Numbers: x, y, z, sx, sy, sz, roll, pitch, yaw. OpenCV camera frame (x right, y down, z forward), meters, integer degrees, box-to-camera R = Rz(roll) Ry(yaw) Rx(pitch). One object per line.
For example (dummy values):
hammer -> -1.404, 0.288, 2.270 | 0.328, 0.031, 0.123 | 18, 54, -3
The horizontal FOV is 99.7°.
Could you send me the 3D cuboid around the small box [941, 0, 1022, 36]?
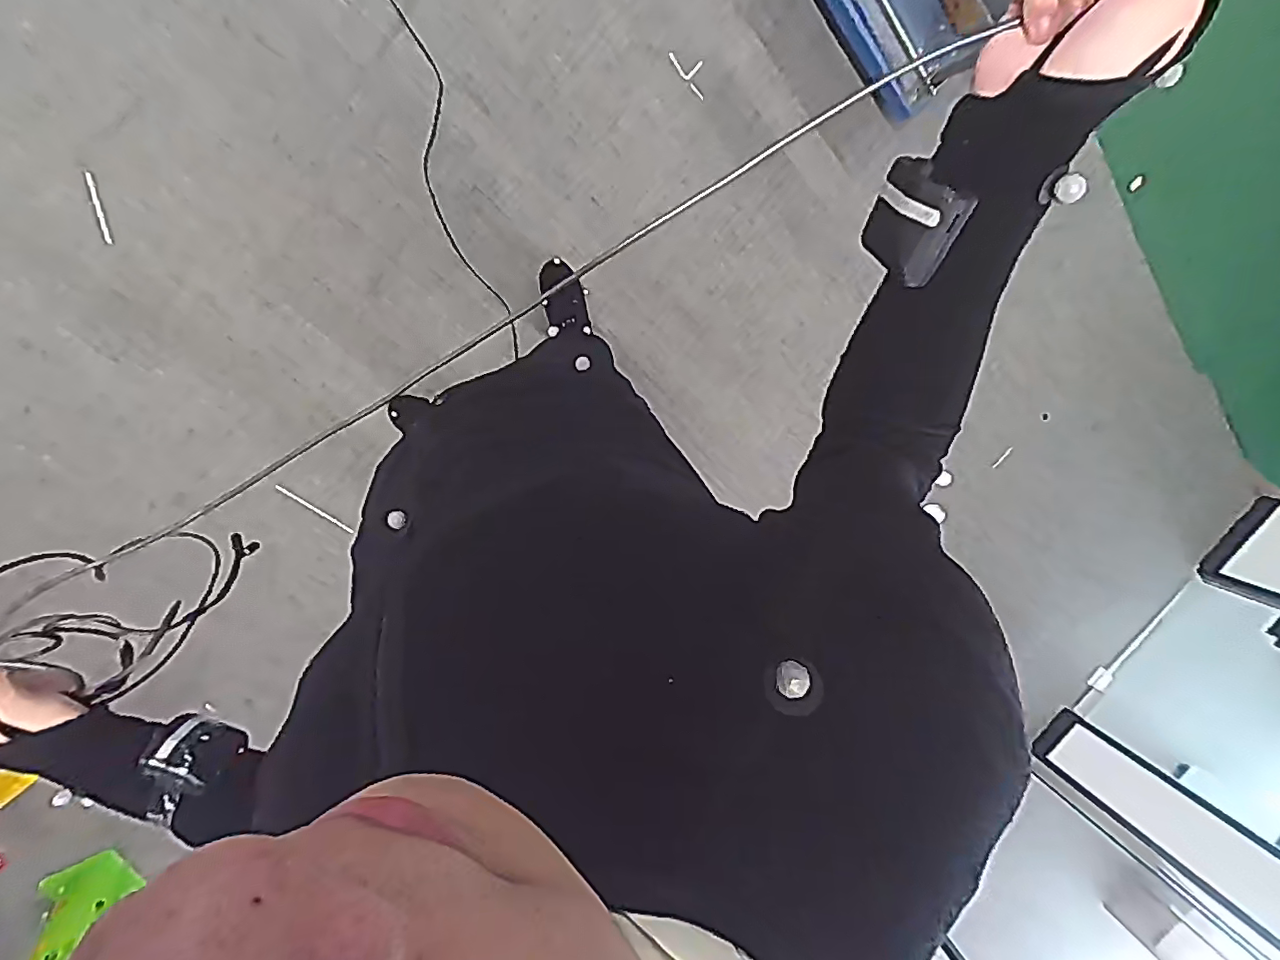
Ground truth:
small box -> 0.853, -1.231, 1.292 | 0.179, 0.176, 0.168 | -47, 112, 2
